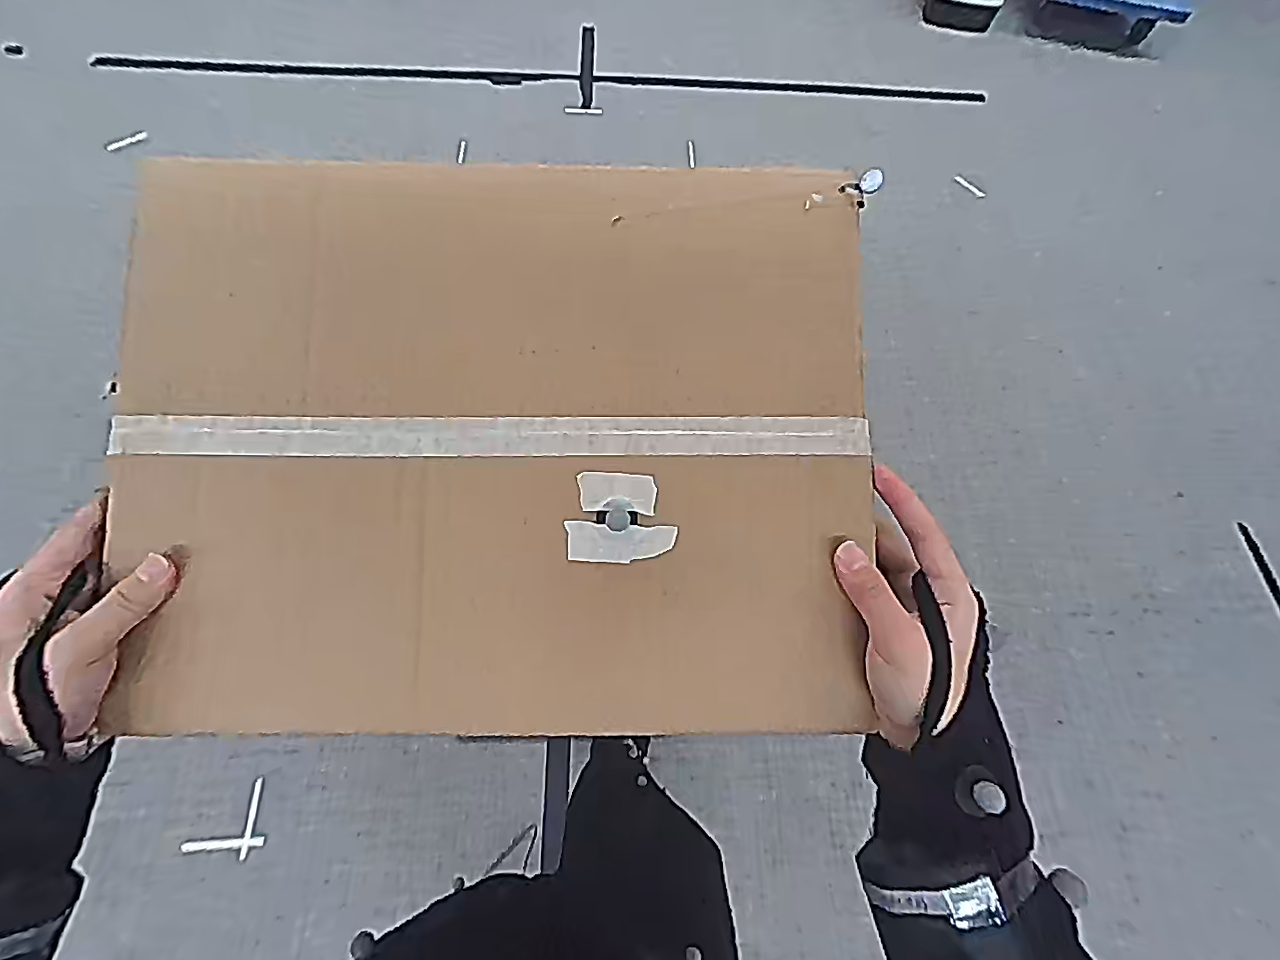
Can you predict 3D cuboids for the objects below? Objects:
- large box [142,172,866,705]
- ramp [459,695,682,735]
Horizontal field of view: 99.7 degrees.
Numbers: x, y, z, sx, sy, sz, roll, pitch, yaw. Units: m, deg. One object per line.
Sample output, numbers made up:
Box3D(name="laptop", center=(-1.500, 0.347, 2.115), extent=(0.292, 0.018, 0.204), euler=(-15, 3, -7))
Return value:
Box3D(name="large box", center=(-0.077, -0.018, 0.459), extent=(0.408, 0.320, 0.320), euler=(0, 85, -1))
Box3D(name="ramp", center=(-0.151, 0.064, 1.288), extent=(0.509, 0.206, 0.991), euler=(-1, 67, -5))
